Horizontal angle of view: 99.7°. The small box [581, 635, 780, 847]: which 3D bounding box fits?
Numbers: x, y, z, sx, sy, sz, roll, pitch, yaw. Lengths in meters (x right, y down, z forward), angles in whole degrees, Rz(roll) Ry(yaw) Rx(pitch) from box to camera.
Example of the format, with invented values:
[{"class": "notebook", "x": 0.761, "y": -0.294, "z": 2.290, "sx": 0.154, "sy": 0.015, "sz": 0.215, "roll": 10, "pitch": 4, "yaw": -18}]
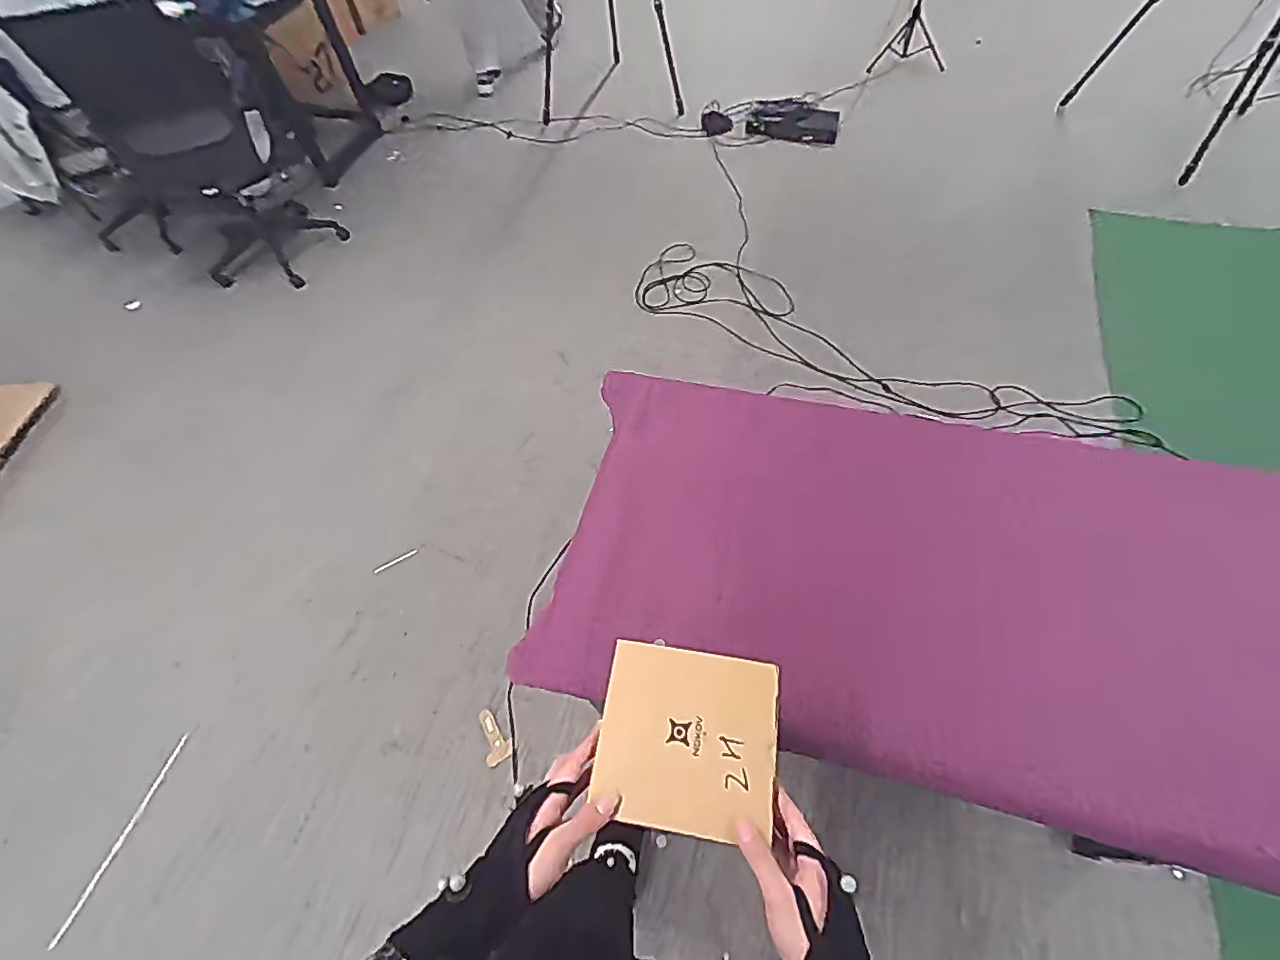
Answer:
[{"class": "small box", "x": 0.047, "y": 0.289, "z": 0.598, "sx": 0.179, "sy": 0.176, "sz": 0.168, "roll": 9, "pitch": 59, "yaw": 7}]
